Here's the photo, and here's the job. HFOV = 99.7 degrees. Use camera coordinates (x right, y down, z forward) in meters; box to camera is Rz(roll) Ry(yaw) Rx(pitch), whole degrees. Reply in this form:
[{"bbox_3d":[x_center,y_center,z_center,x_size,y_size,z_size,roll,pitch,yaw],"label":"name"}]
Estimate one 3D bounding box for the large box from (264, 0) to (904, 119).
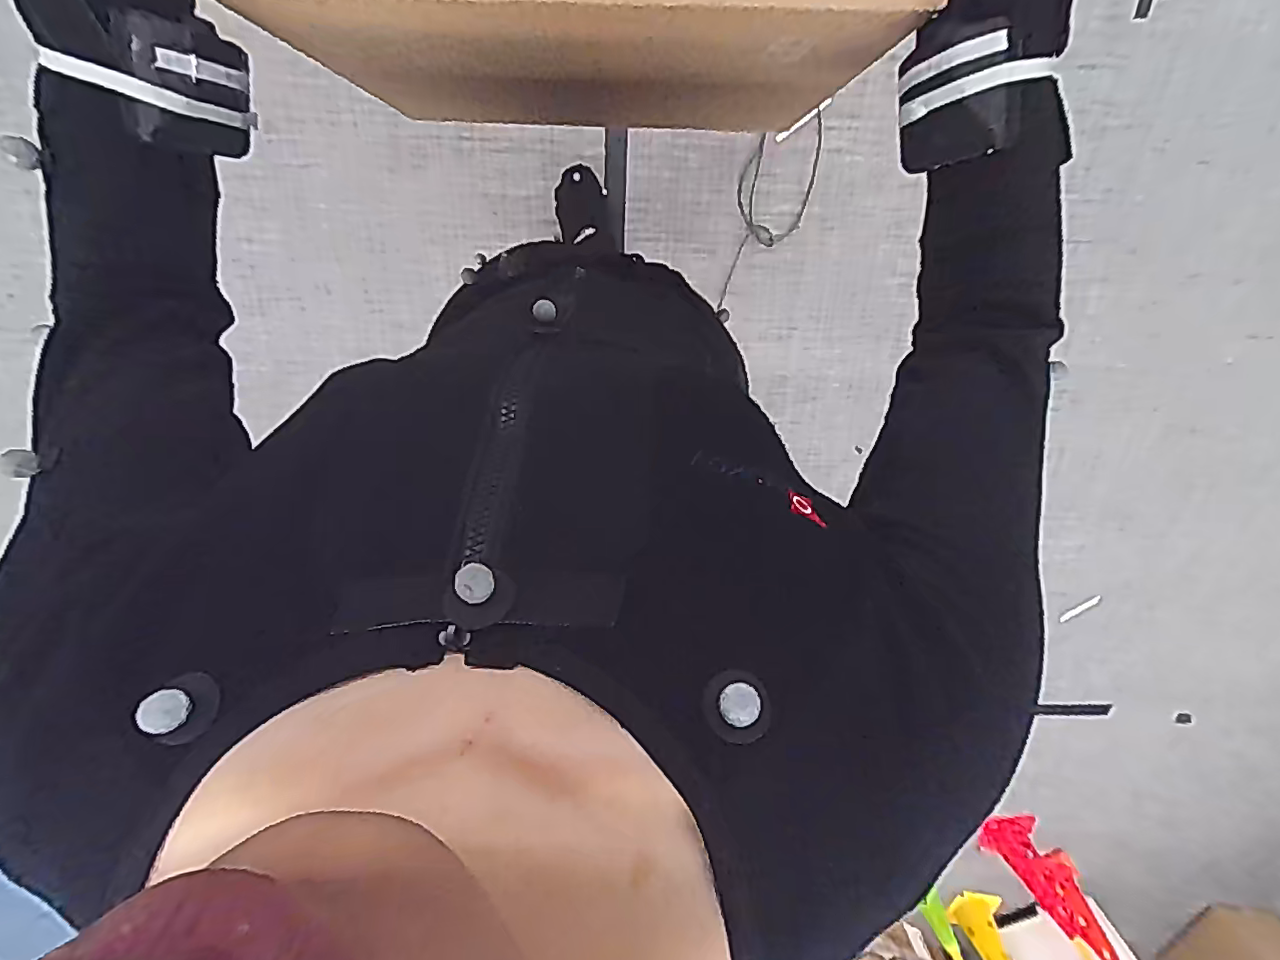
[{"bbox_3d":[-0.036,-0.471,0.379,0.408,0.320,0.320,0,113,-1],"label":"large box"}]
